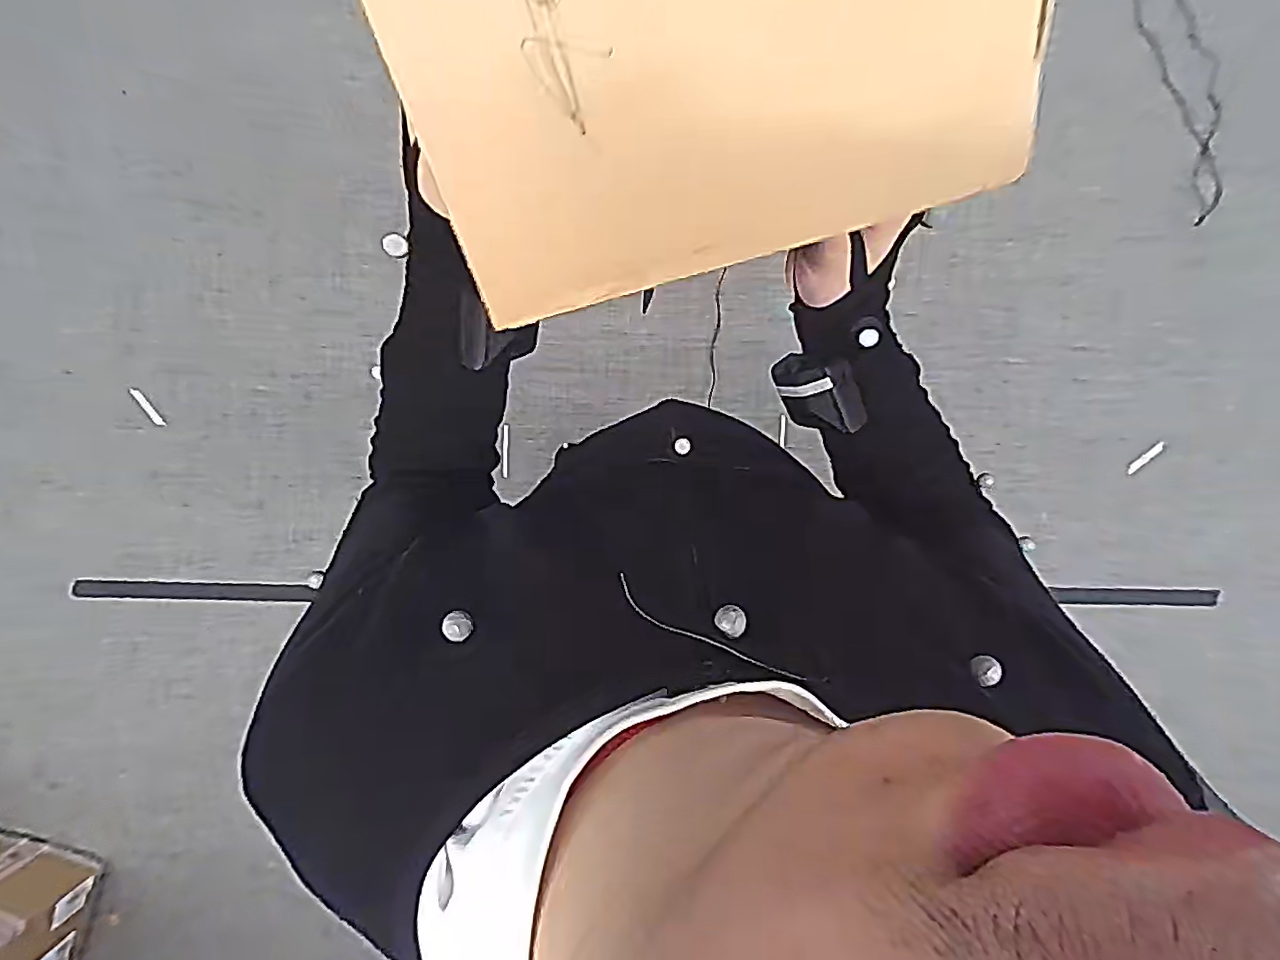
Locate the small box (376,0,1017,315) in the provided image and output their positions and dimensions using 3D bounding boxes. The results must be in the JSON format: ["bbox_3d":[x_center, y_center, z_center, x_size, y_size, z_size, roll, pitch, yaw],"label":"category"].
[{"bbox_3d":[0.009,-0.187,0.209,0.179,0.176,0.168,-15,121,5],"label":"small box"}]
